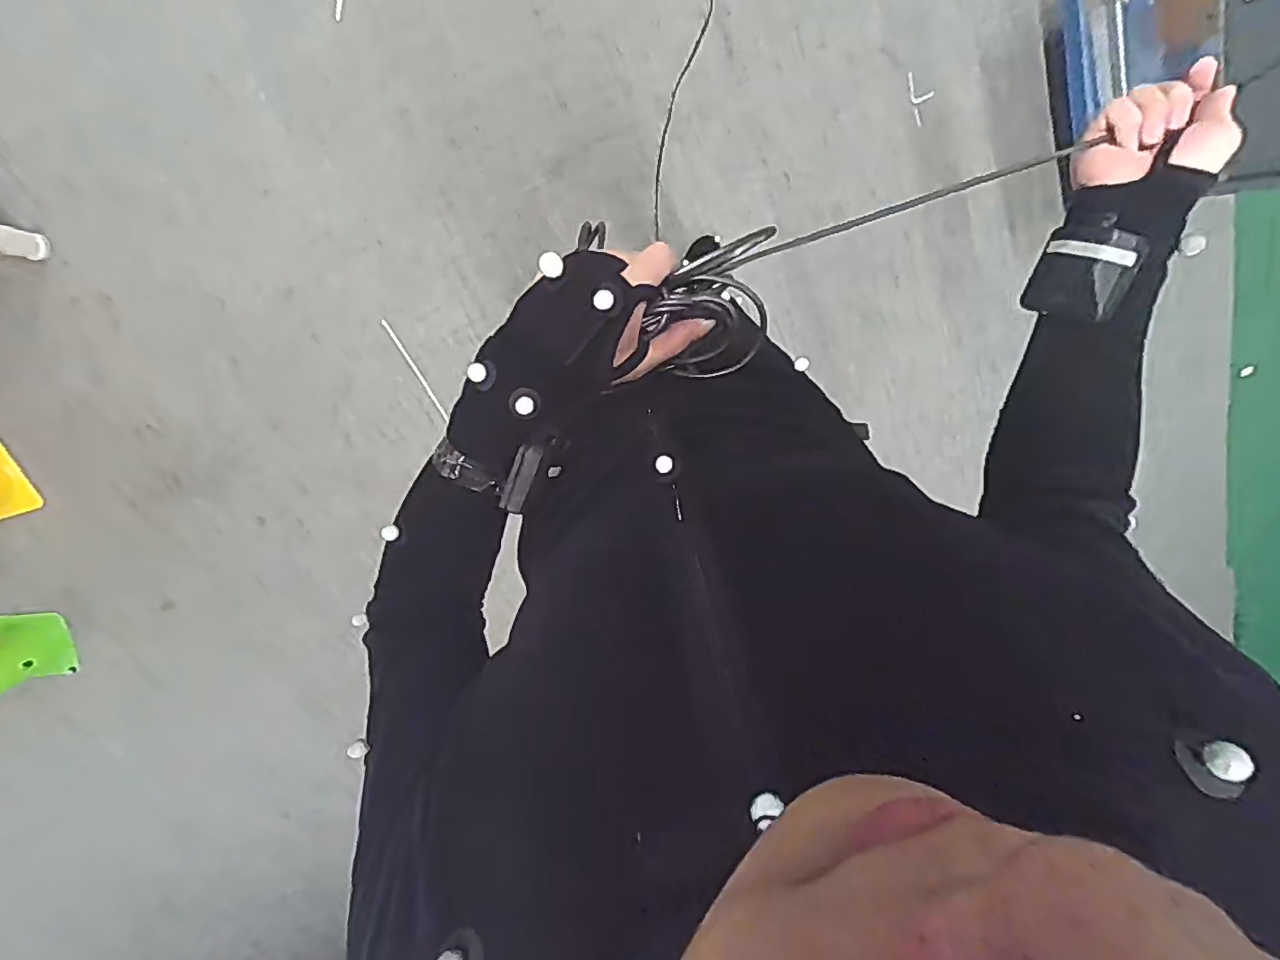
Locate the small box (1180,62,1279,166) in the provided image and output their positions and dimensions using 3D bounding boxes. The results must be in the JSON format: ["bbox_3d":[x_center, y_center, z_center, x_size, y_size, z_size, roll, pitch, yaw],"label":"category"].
[{"bbox_3d":[1.501,-0.909,1.334,0.179,0.176,0.168,-26,112,1],"label":"small box"}]
